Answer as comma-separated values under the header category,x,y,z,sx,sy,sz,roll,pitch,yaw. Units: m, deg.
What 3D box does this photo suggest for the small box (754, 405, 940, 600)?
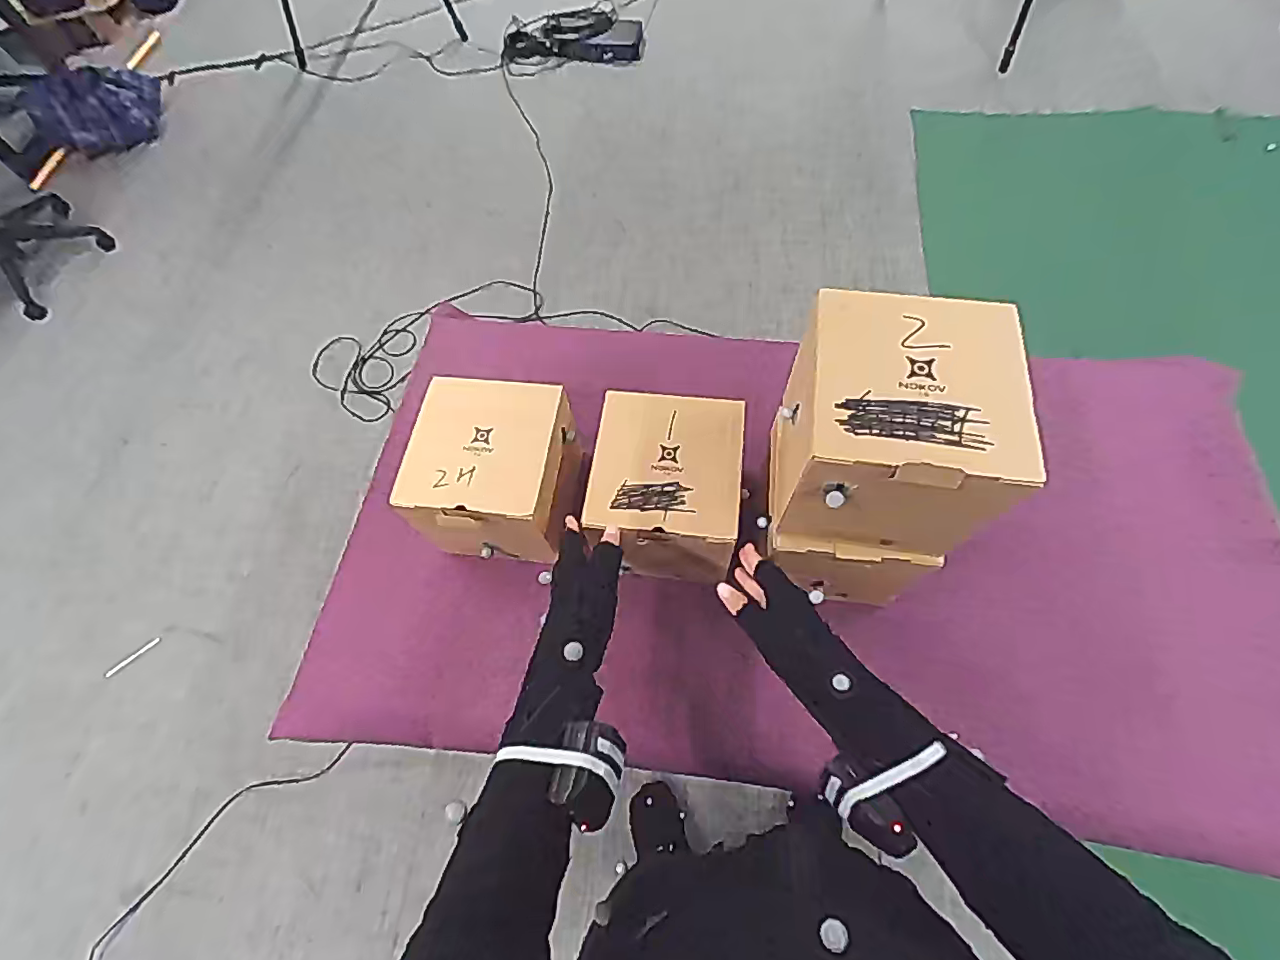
category,x,y,z,sx,sy,sz,roll,pitch,yaw
small box,0.232,0.033,0.651,0.168,0.176,0.179,5,66,6

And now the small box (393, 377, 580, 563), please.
category,x,y,z,sx,sy,sz,roll,pitch,yaw
small box,-0.178,-0.008,0.696,0.168,0.176,0.179,5,65,7
